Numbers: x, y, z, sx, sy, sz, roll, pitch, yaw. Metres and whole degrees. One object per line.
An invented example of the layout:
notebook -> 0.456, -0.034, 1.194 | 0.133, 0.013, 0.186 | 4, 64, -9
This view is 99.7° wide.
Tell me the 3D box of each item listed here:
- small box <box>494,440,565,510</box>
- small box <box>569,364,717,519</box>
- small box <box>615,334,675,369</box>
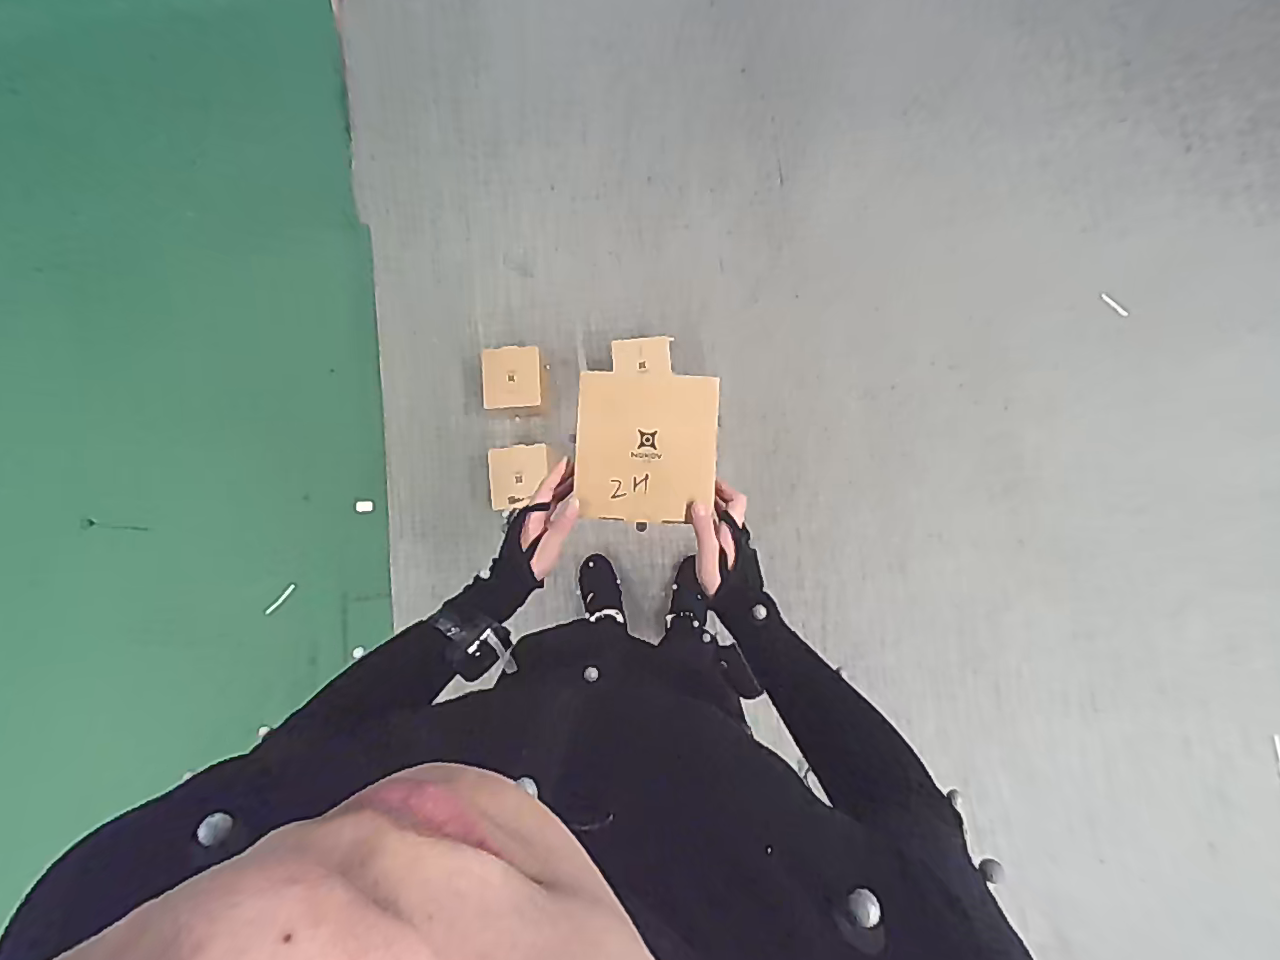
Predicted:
small box -> -0.319, -0.010, 1.582 | 0.168, 0.176, 0.179 | -6, 84, 2
small box -> 0.005, -0.042, 0.709 | 0.168, 0.176, 0.179 | 3, 88, 2
small box -> 0.020, -0.314, 1.596 | 0.168, 0.176, 0.179 | -4, 84, 2
